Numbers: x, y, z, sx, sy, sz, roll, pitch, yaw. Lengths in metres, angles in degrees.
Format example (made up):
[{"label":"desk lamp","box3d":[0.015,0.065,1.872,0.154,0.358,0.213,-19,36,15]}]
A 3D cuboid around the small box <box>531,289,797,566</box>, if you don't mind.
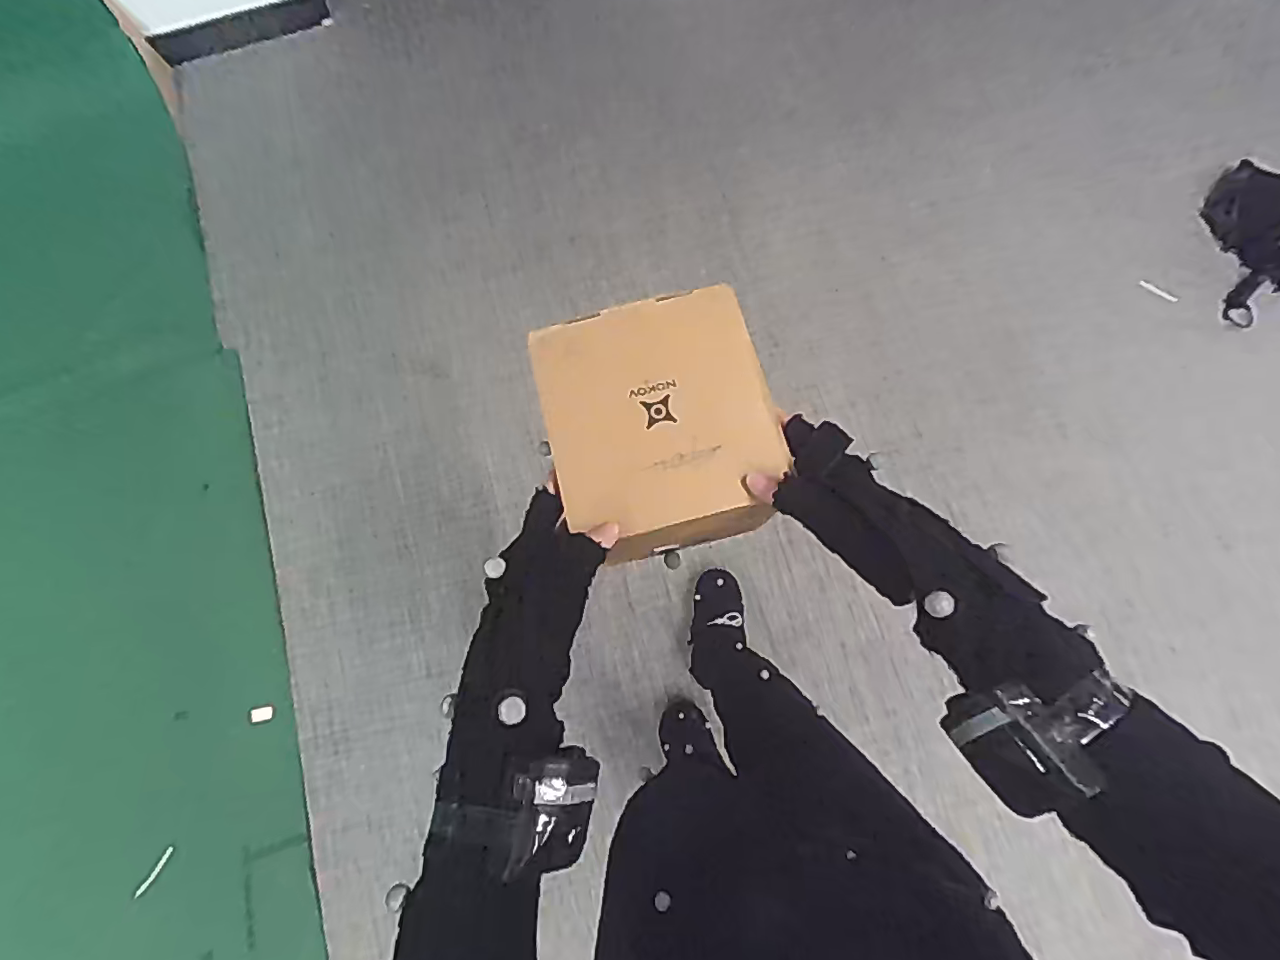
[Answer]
[{"label":"small box","box3d":[0.016,-0.033,0.483,0.168,0.176,0.179,-16,77,-1]}]
